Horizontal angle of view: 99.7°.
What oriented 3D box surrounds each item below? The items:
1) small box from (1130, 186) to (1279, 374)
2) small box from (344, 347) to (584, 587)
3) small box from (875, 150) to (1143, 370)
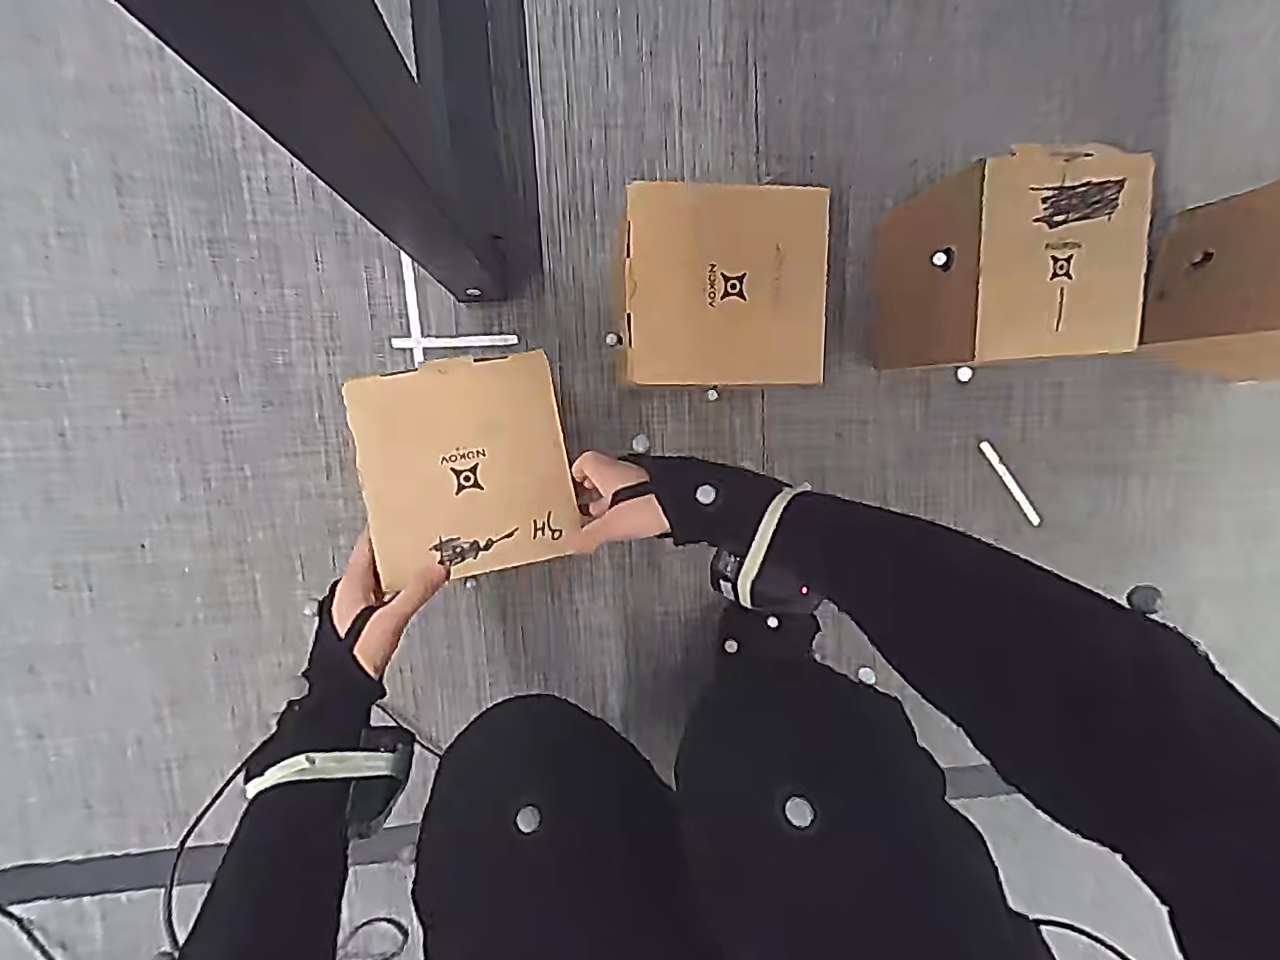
[{"bbox_3d":[0.719,-0.219,0.605,0.179,0.176,0.168,13,96,-7],"label":"small box"},{"bbox_3d":[-0.154,-0.010,0.519,0.168,0.176,0.179,-12,90,-9],"label":"small box"},{"bbox_3d":[0.364,-0.213,0.565,0.168,0.176,0.179,-4,99,-5],"label":"small box"}]
